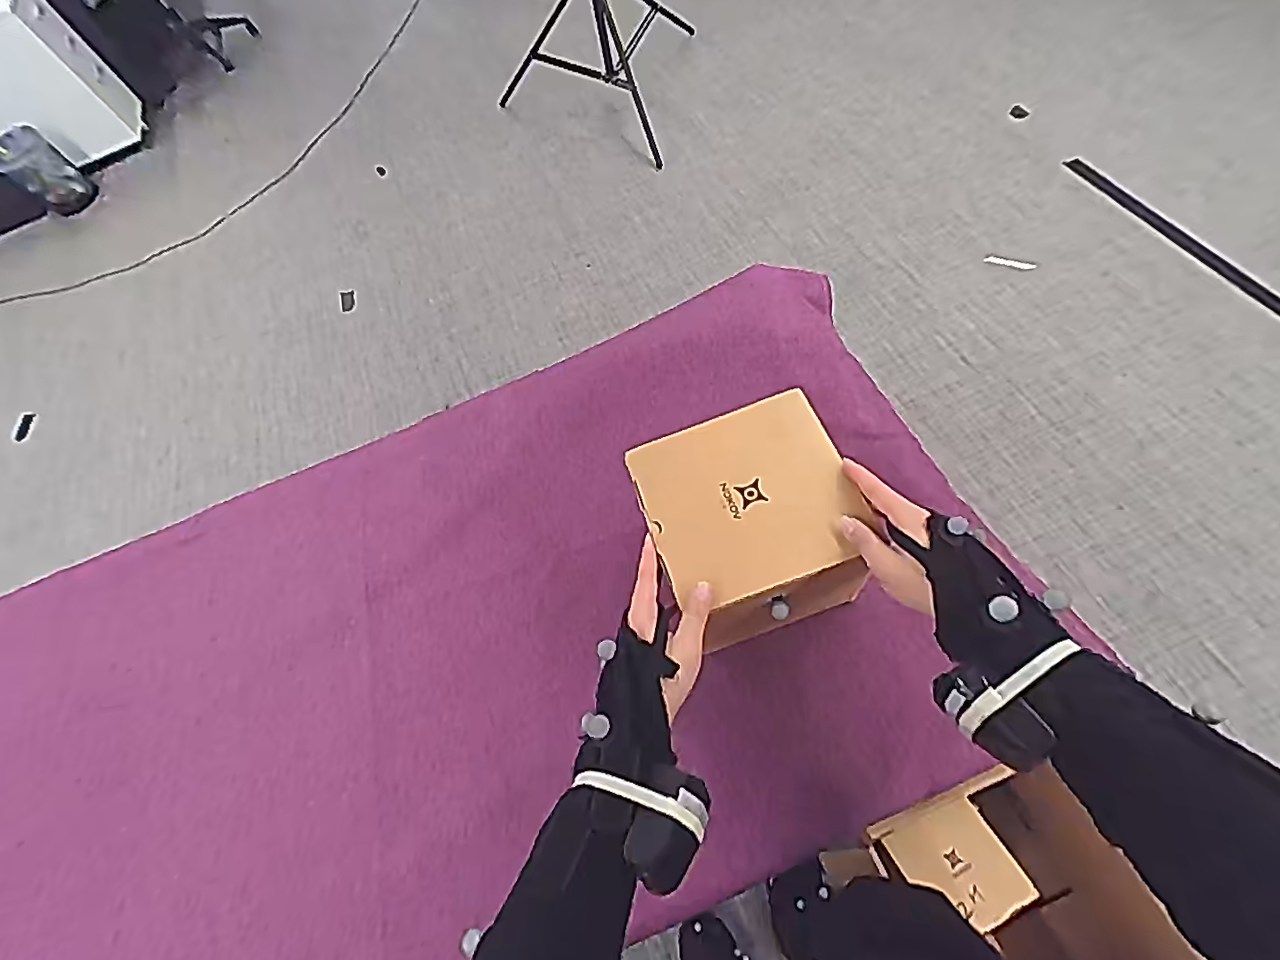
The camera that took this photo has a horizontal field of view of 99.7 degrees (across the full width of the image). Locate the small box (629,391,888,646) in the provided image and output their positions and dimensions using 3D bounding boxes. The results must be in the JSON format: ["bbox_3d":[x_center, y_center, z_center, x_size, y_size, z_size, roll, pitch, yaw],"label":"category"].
[{"bbox_3d":[0.106,0.048,0.532,0.179,0.176,0.168,-21,62,2],"label":"small box"}]
